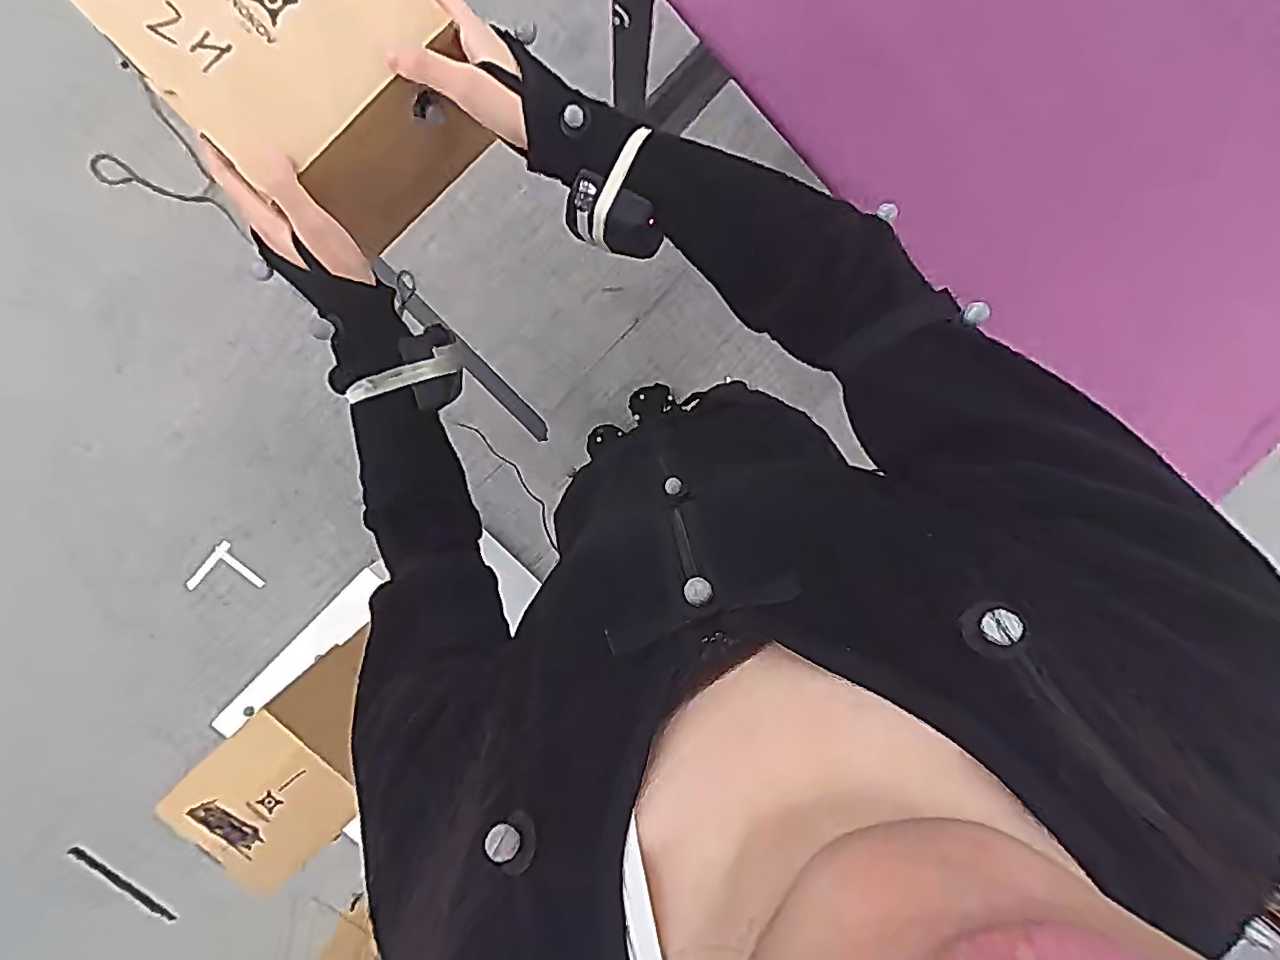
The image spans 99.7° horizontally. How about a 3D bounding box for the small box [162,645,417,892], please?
[{"bbox_3d":[-0.420,0.349,0.685,0.179,0.176,0.168,-43,98,3],"label":"small box"}]
